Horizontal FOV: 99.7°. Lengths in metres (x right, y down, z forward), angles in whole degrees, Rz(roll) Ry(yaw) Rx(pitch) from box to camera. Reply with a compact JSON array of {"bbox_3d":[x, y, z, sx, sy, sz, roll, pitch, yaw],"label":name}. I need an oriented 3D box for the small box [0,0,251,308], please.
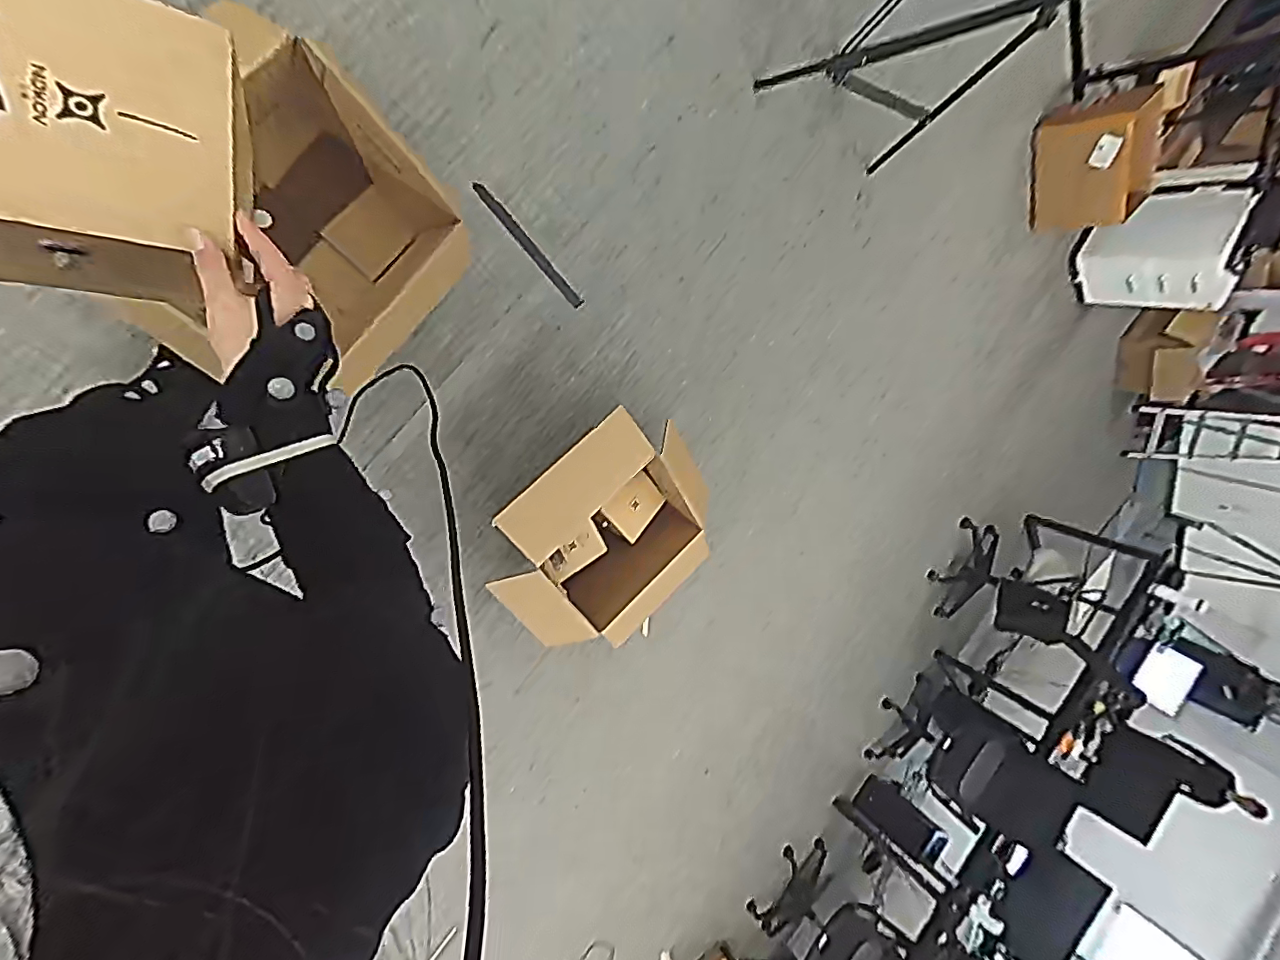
[{"bbox_3d":[-0.408,-0.240,0.408,0.179,0.176,0.168,-1,93,-33],"label":"small box"}]
